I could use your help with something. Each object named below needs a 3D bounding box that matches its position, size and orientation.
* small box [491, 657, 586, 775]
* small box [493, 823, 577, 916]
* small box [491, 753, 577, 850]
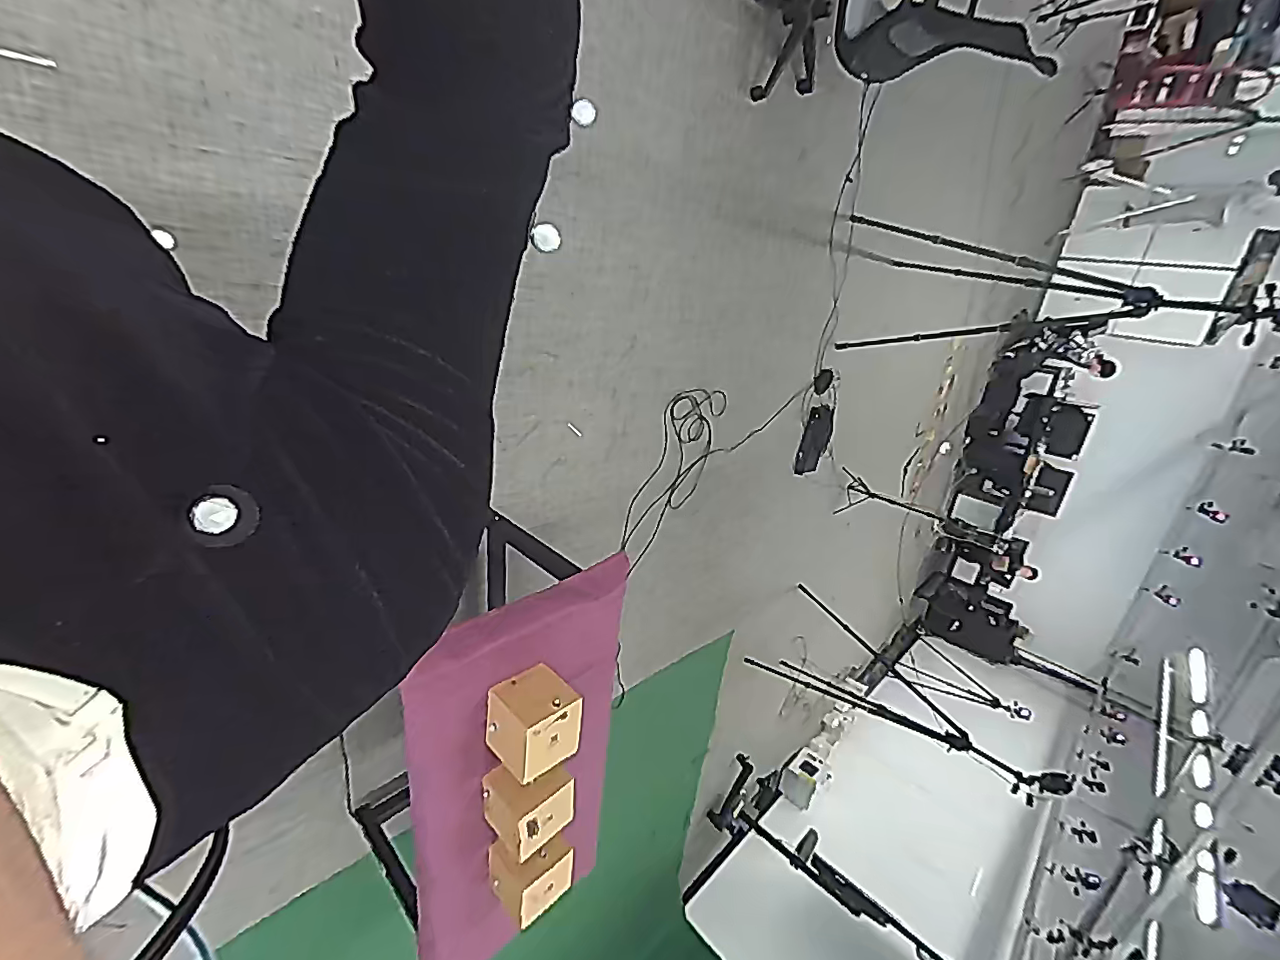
[{"bbox_3d":[-0.260,0.584,1.361,0.168,0.176,0.179,-14,120,-45],"label":"small box"},{"bbox_3d":[-0.306,1.092,1.577,0.179,0.176,0.168,-16,120,-44],"label":"small box"},{"bbox_3d":[-0.290,0.831,1.458,0.179,0.176,0.168,-20,124,-43],"label":"small box"}]
